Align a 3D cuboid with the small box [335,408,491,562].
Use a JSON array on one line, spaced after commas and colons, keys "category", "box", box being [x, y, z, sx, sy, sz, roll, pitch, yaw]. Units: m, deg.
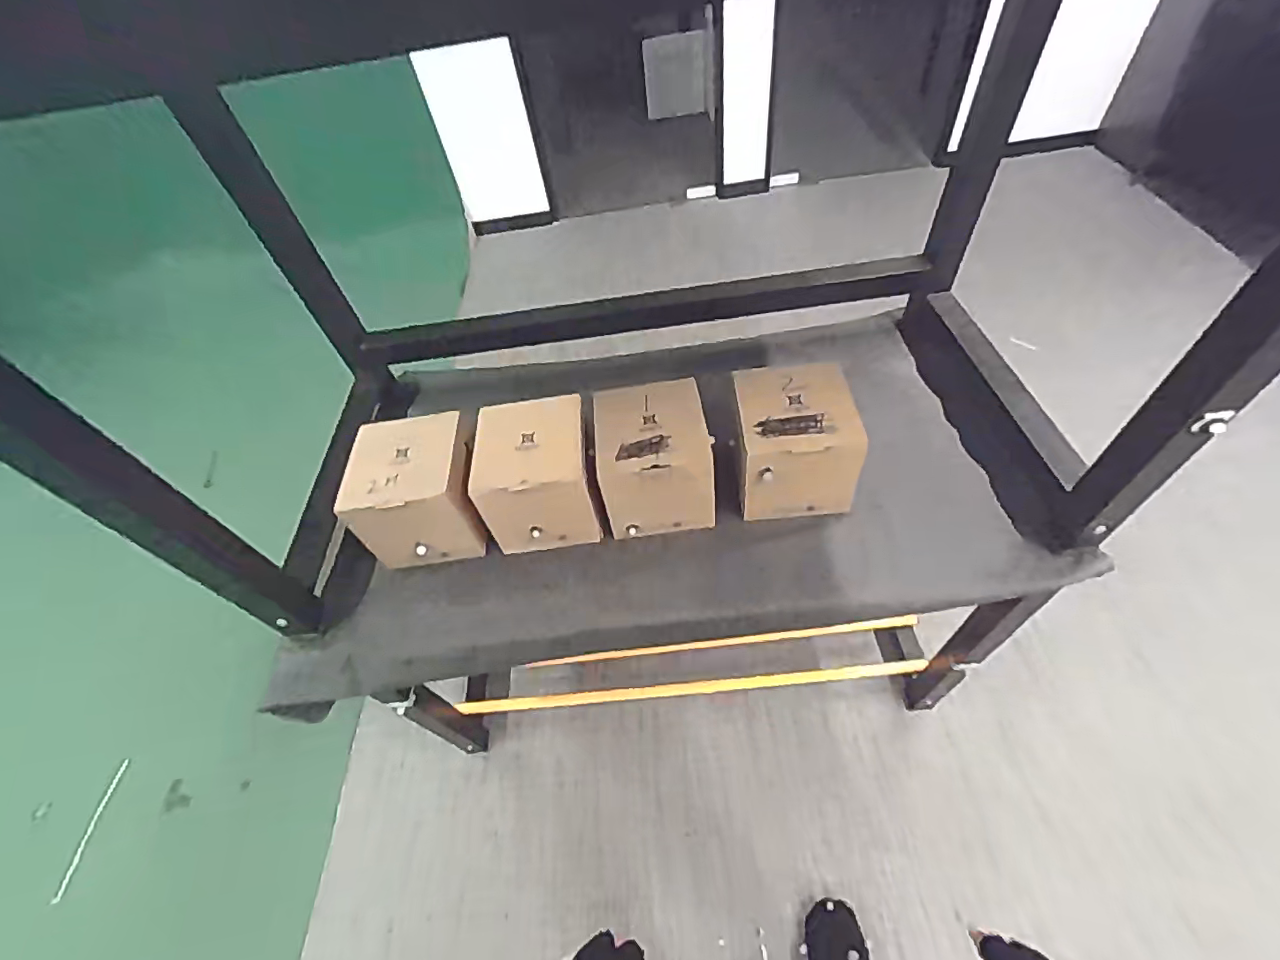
[{"category": "small box", "box": [-0.350, 0.010, 0.876, 0.168, 0.176, 0.179, -8, 51, 2]}]
